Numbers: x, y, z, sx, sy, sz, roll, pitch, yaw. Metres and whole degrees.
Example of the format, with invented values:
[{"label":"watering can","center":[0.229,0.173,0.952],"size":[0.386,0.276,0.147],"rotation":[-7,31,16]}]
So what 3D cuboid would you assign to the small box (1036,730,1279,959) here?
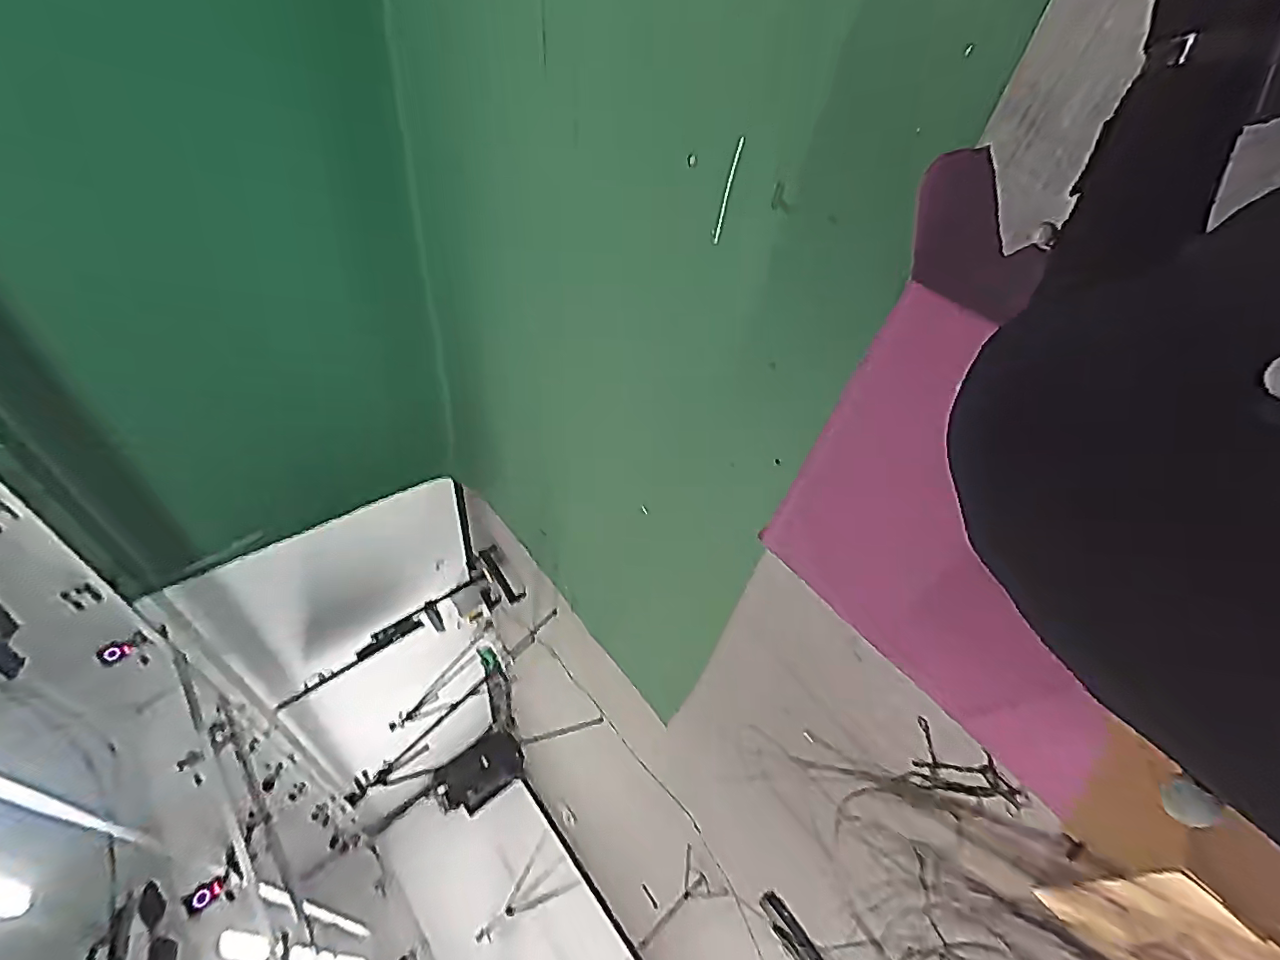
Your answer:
[{"label":"small box","center":[0.533,0.372,0.502],"size":[0.168,0.176,0.179],"rotation":[45,144,25]}]
